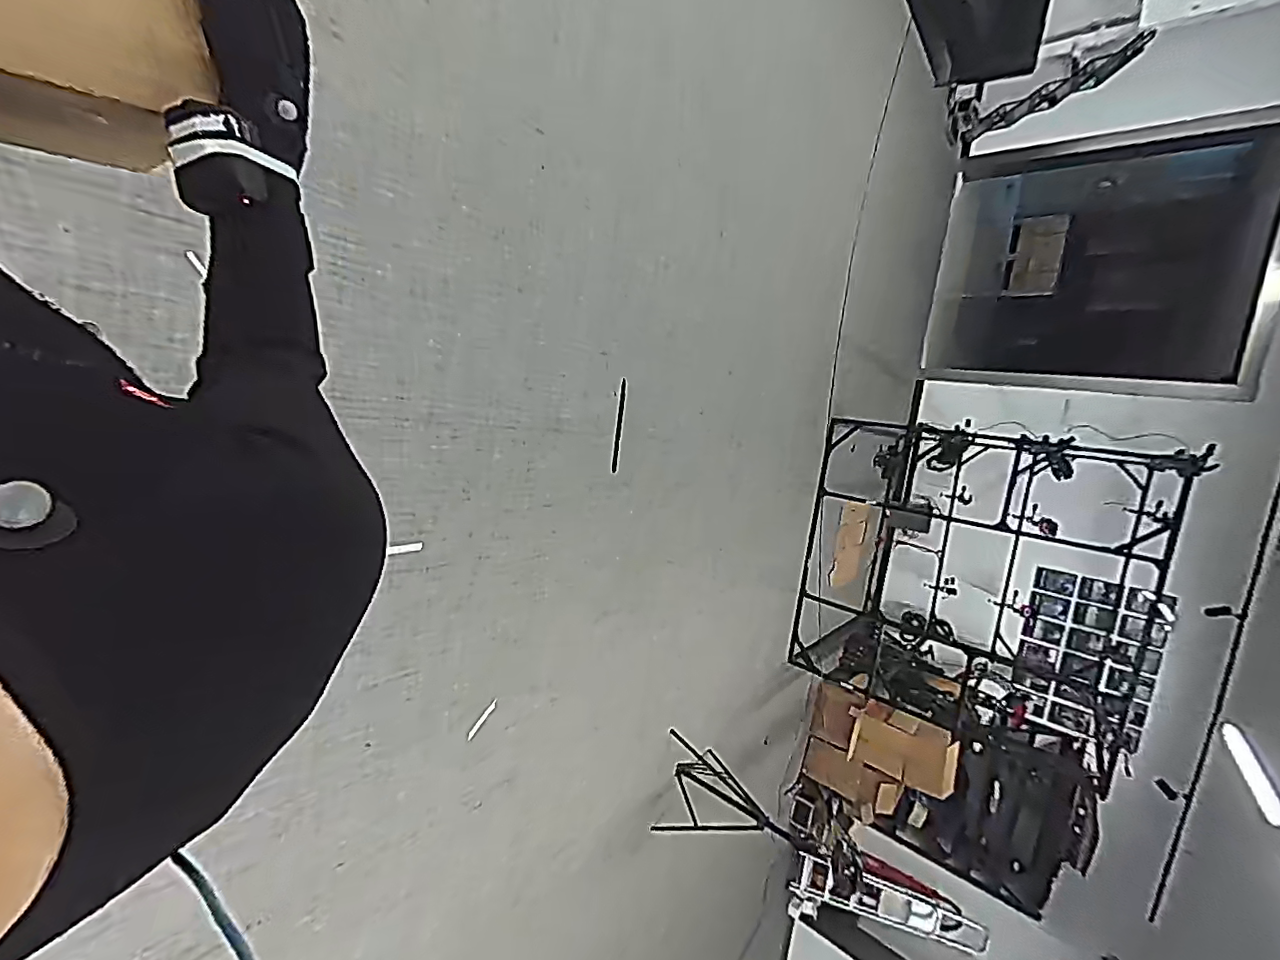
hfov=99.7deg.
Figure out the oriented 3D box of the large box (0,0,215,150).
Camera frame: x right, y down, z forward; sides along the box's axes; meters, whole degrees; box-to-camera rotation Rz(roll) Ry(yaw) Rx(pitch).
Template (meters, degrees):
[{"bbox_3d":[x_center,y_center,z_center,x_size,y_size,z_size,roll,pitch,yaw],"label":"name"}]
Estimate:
[{"bbox_3d":[-0.563,-0.442,0.324,0.408,0.320,0.320,-13,115,-49],"label":"large box"}]
